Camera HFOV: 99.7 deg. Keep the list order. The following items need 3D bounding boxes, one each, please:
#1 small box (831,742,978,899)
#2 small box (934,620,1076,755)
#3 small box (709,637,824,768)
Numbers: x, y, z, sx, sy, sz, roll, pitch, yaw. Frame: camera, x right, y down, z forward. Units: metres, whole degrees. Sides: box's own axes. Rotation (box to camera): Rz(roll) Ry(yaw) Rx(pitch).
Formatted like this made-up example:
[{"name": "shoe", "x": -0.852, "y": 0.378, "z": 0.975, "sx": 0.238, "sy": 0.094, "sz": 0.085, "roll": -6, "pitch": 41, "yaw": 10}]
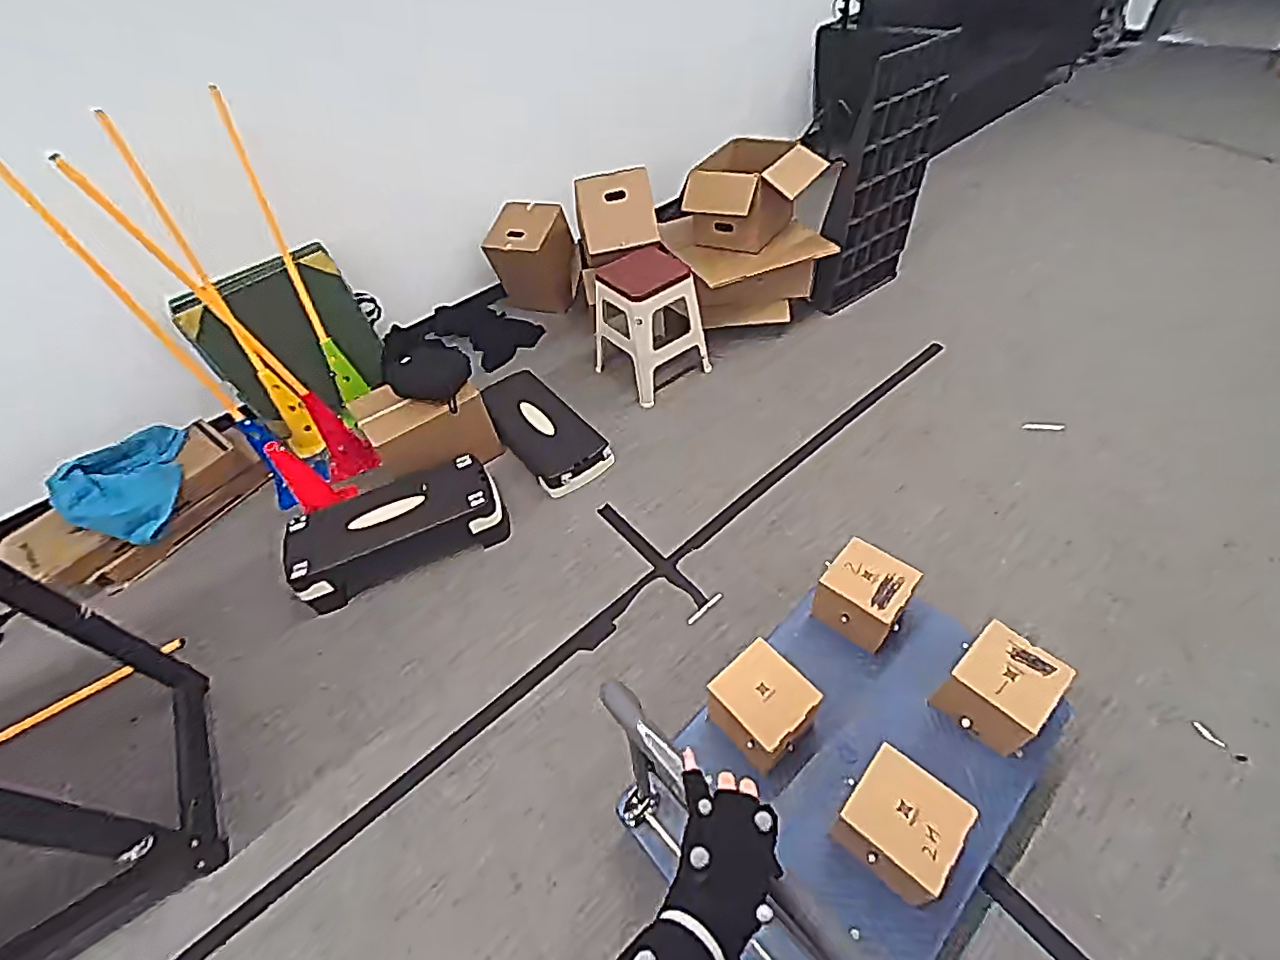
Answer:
[{"name": "small box", "x": 0.478, "y": 0.635, "z": 1.005, "sx": 0.179, "sy": 0.176, "sz": 0.168, "roll": 33, "pitch": 61, "yaw": 31}, {"name": "small box", "x": 0.755, "y": 0.438, "z": 1.139, "sx": 0.179, "sy": 0.176, "sz": 0.168, "roll": -37, "pitch": 54, "yaw": -21}, {"name": "small box", "x": 0.264, "y": 0.485, "z": 1.170, "sx": 0.168, "sy": 0.176, "sz": 0.179, "roll": -35, "pitch": 54, "yaw": -22}]
